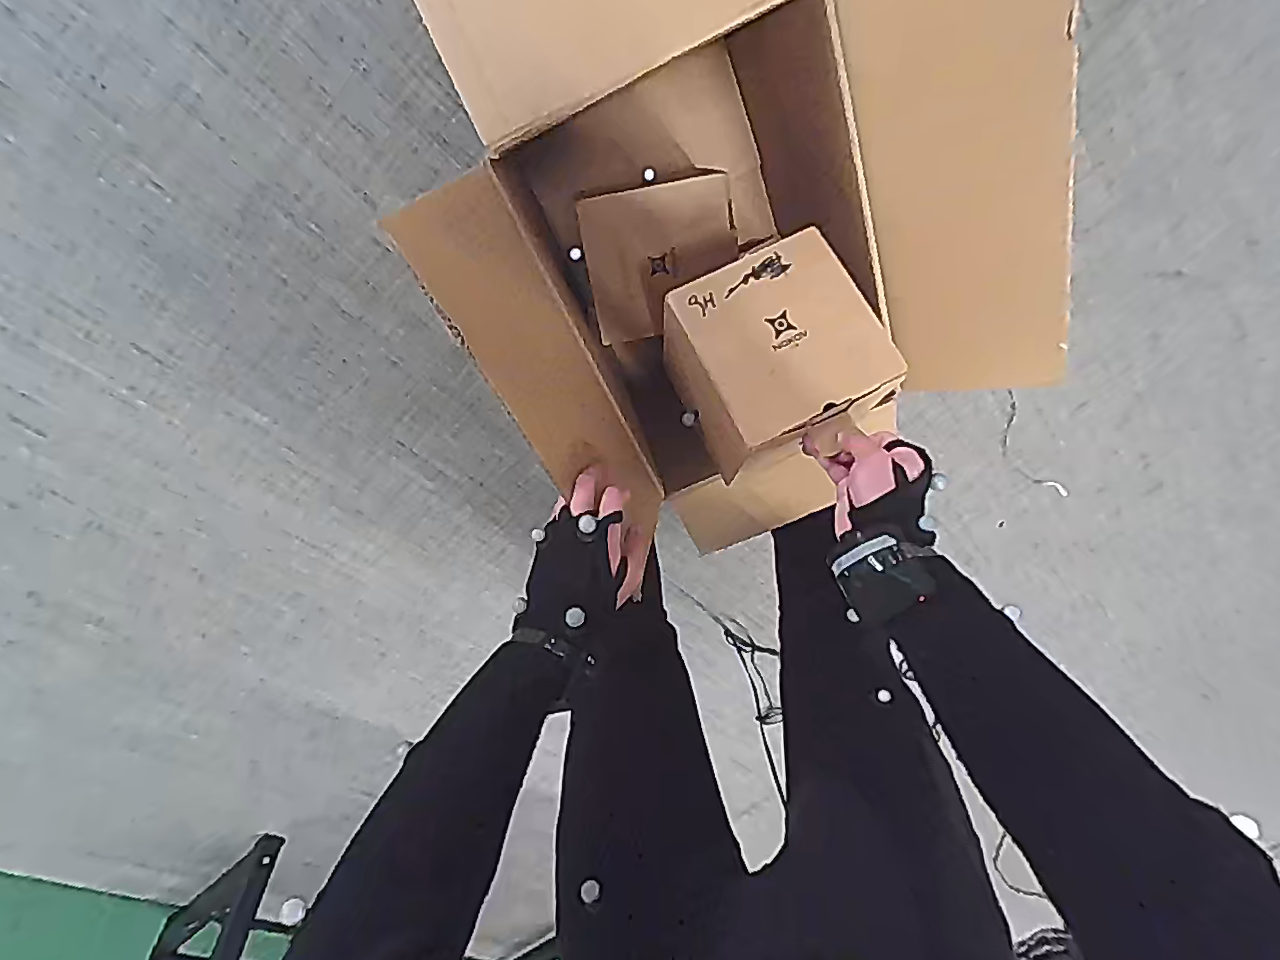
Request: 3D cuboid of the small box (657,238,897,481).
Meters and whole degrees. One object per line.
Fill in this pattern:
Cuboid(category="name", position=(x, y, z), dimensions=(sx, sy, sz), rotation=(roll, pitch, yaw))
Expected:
Cuboid(category="small box", position=(0.134, -0.112, 0.591), dimensions=(0.168, 0.179, 0.176), rotation=(-30, 166, -2))
